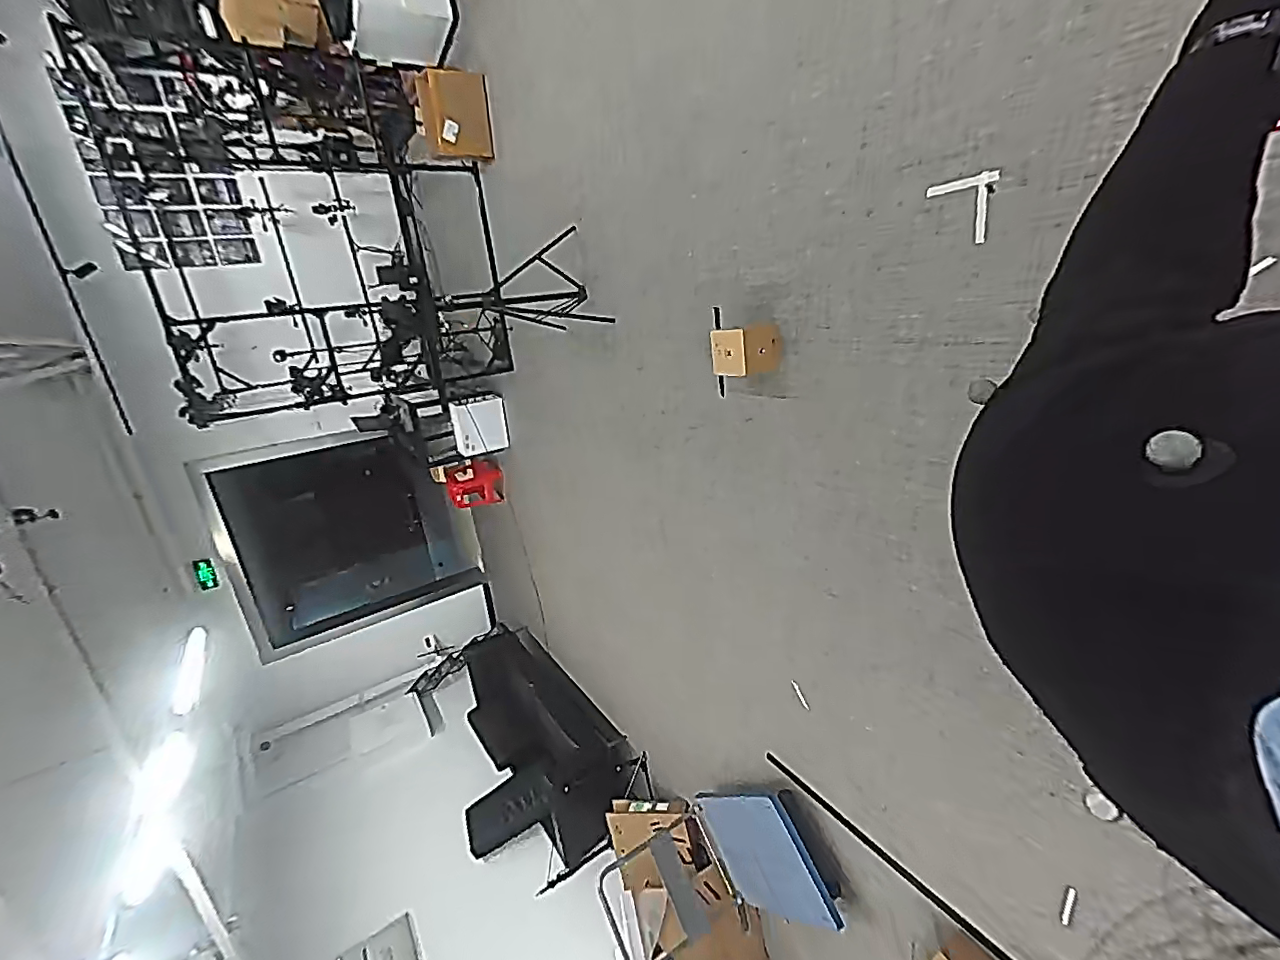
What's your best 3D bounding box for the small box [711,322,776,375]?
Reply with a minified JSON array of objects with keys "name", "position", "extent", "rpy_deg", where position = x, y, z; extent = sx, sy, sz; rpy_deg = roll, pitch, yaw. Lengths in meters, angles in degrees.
[{"name":"small box","position":[0.386,-0.484,1.986],"extent":[0.179,0.176,0.168],"rpy_deg":[20,122,55]}]
